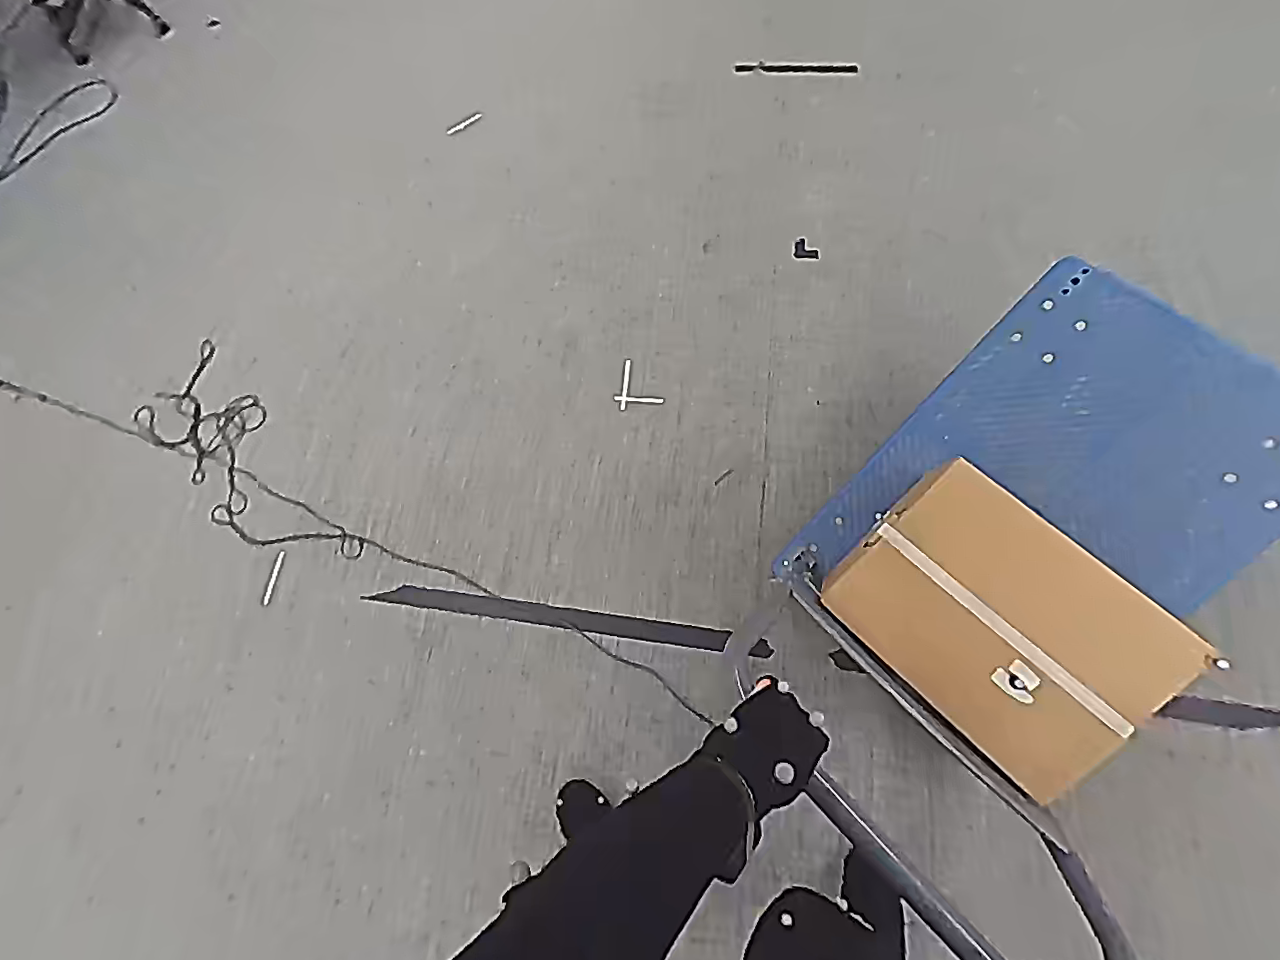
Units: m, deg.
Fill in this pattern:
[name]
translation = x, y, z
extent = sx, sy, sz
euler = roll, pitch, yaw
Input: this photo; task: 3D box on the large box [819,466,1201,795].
[large box]
translation = 0.573, 0.226, 0.952
extent = 0.408, 0.320, 0.320
euler = 44, 100, 16
